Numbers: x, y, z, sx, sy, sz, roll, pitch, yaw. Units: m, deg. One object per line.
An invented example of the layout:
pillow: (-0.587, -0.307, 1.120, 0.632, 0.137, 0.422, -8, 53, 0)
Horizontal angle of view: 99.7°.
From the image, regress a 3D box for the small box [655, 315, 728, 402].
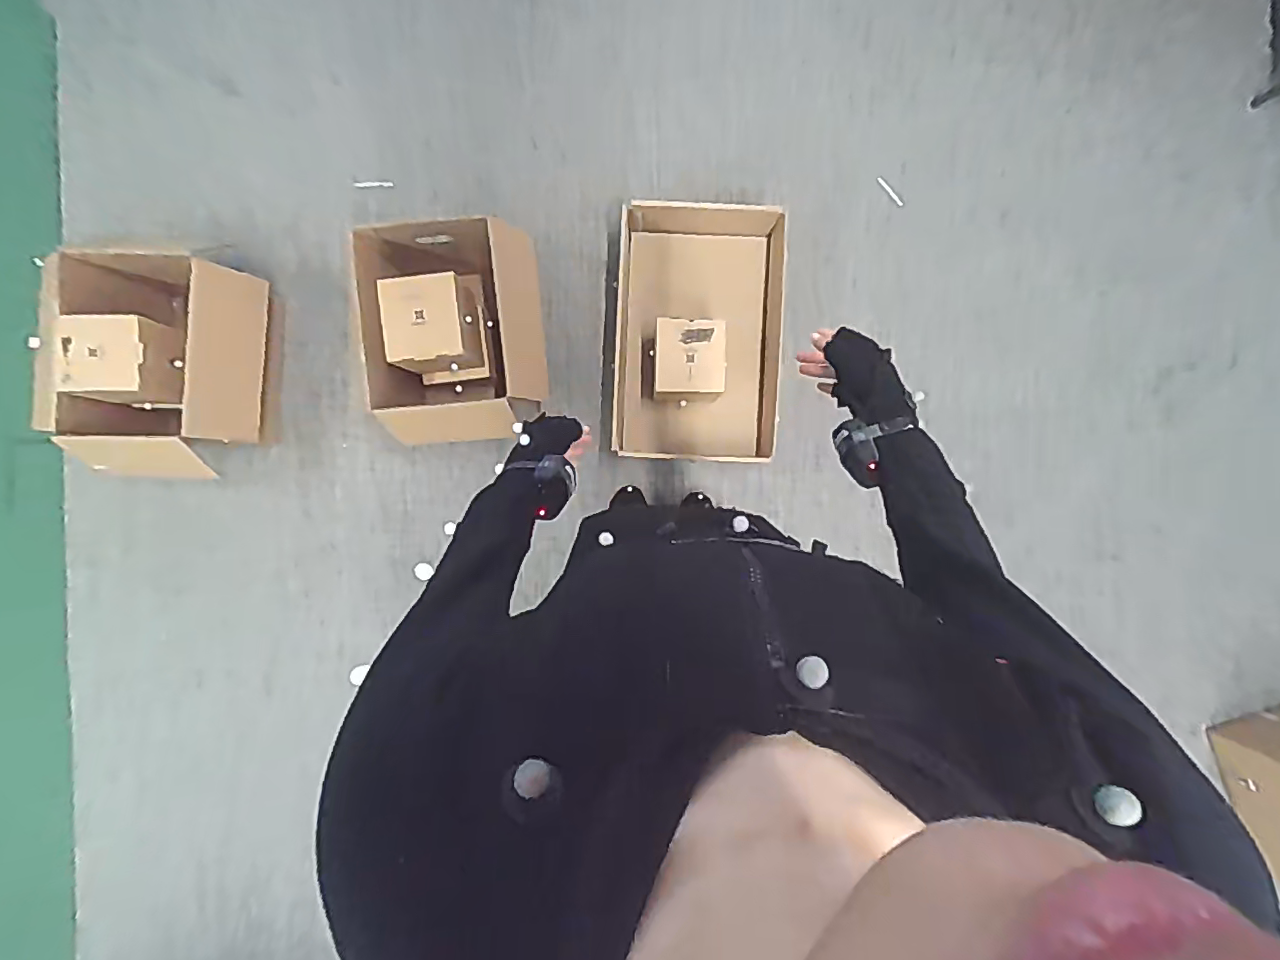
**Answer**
small box: (0.122, -0.296, 1.341, 0.168, 0.176, 0.179, 1, 90, 0)

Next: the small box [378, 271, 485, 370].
small box: (-0.459, -0.348, 1.216, 0.168, 0.176, 0.179, -6, 92, 0)
